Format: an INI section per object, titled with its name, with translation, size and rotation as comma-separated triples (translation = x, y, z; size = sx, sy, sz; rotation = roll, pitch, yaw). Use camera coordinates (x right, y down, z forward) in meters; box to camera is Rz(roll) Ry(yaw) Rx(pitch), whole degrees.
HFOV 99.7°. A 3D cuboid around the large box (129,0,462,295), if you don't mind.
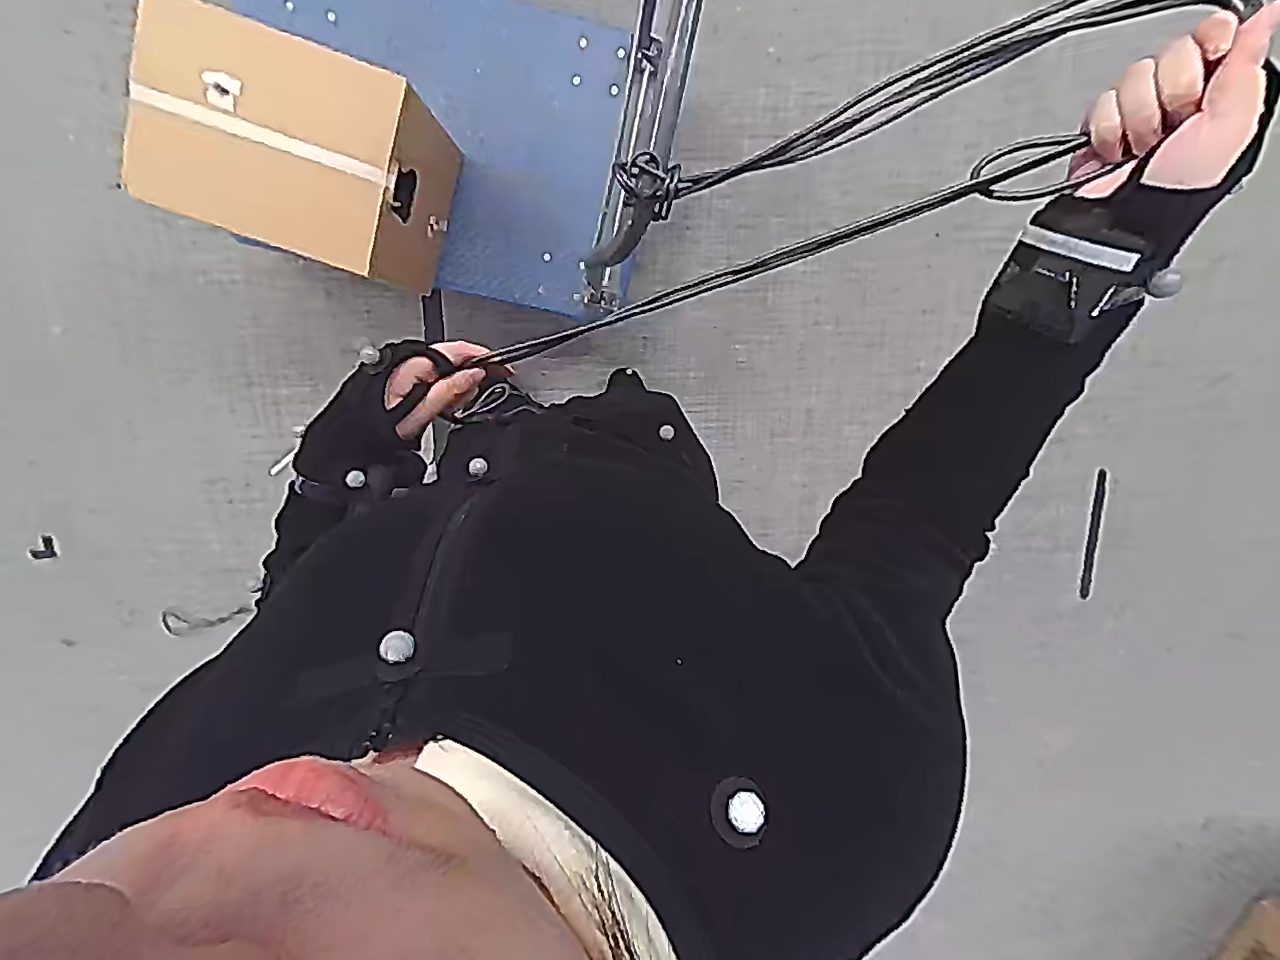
[large box]
translation = -0.597, -0.566, 1.005
size = 0.408, 0.320, 0.320
rotation = 17, 101, -5
